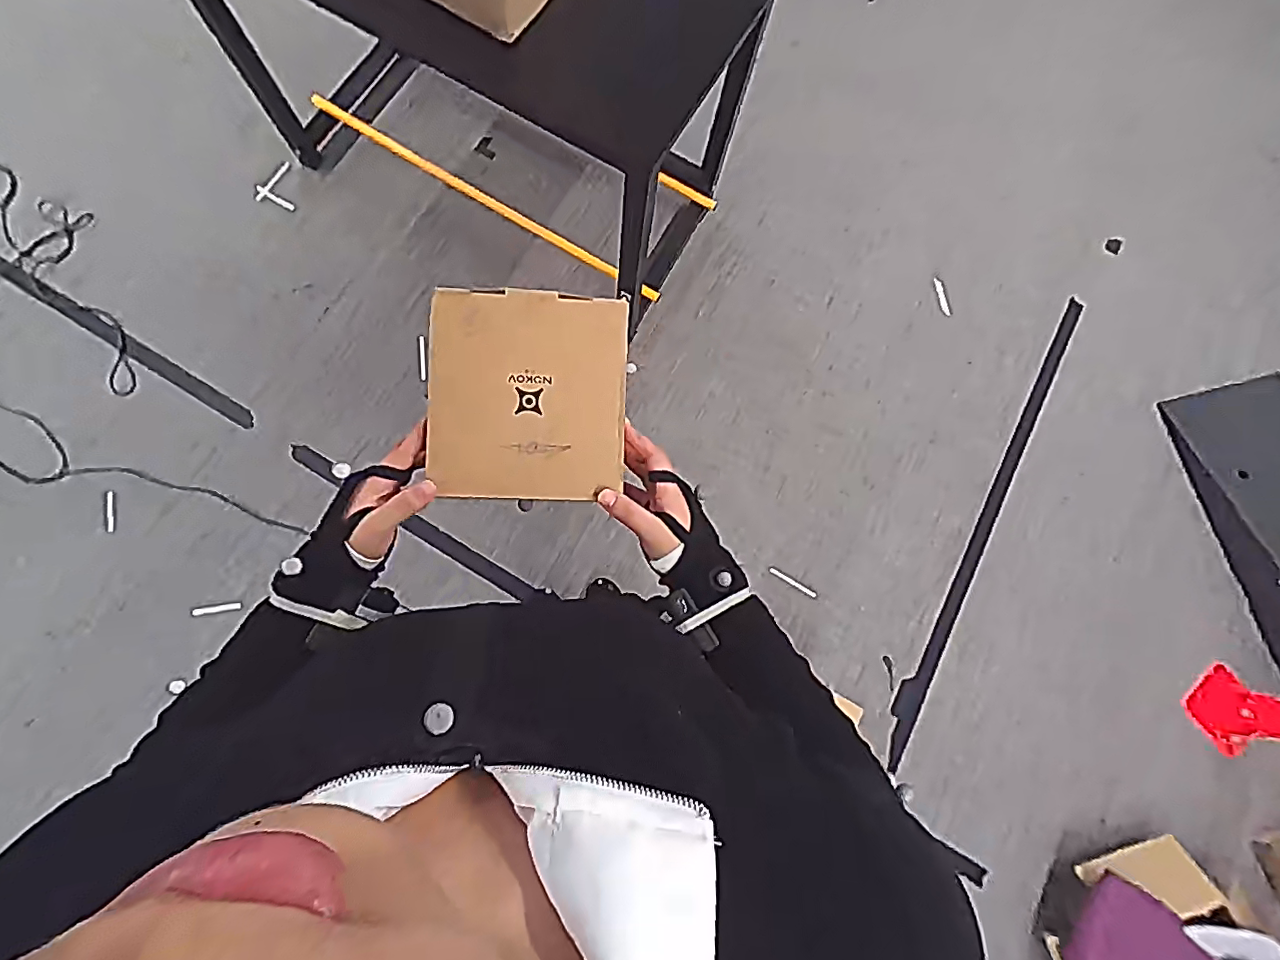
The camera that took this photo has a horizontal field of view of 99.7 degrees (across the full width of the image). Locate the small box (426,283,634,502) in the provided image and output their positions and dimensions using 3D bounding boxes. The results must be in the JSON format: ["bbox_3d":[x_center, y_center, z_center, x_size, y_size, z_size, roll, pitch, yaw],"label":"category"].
[{"bbox_3d":[-0.099,-0.071,0.525,0.168,0.176,0.179,2,91,-6],"label":"small box"}]
